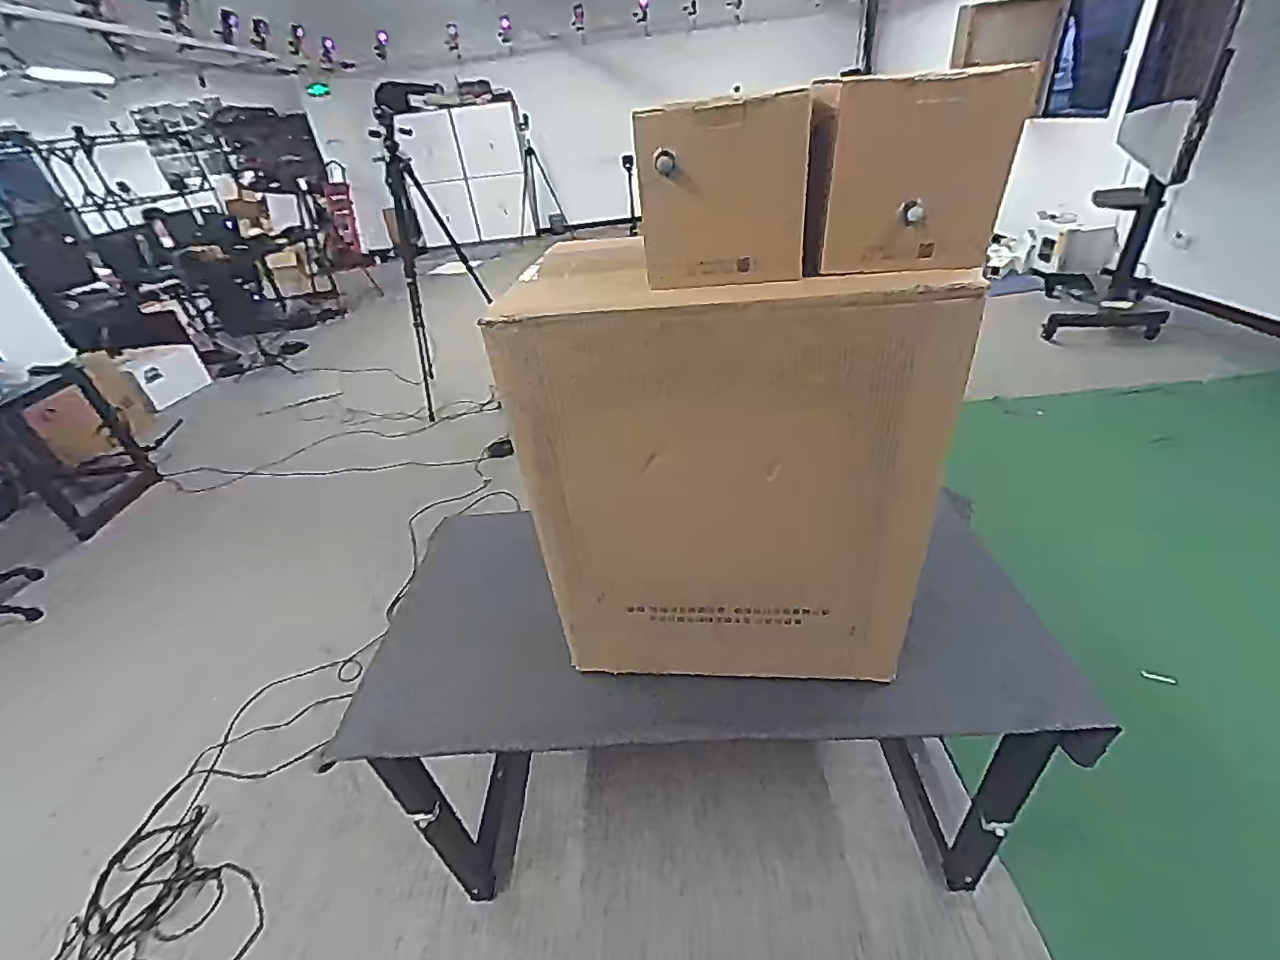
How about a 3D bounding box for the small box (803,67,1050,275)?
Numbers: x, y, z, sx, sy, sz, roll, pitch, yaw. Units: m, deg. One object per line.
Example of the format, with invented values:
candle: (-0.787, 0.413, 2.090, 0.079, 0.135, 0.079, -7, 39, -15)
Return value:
small box: (0.276, -0.326, 0.574, 0.168, 0.176, 0.179, 0, 37, 6)
